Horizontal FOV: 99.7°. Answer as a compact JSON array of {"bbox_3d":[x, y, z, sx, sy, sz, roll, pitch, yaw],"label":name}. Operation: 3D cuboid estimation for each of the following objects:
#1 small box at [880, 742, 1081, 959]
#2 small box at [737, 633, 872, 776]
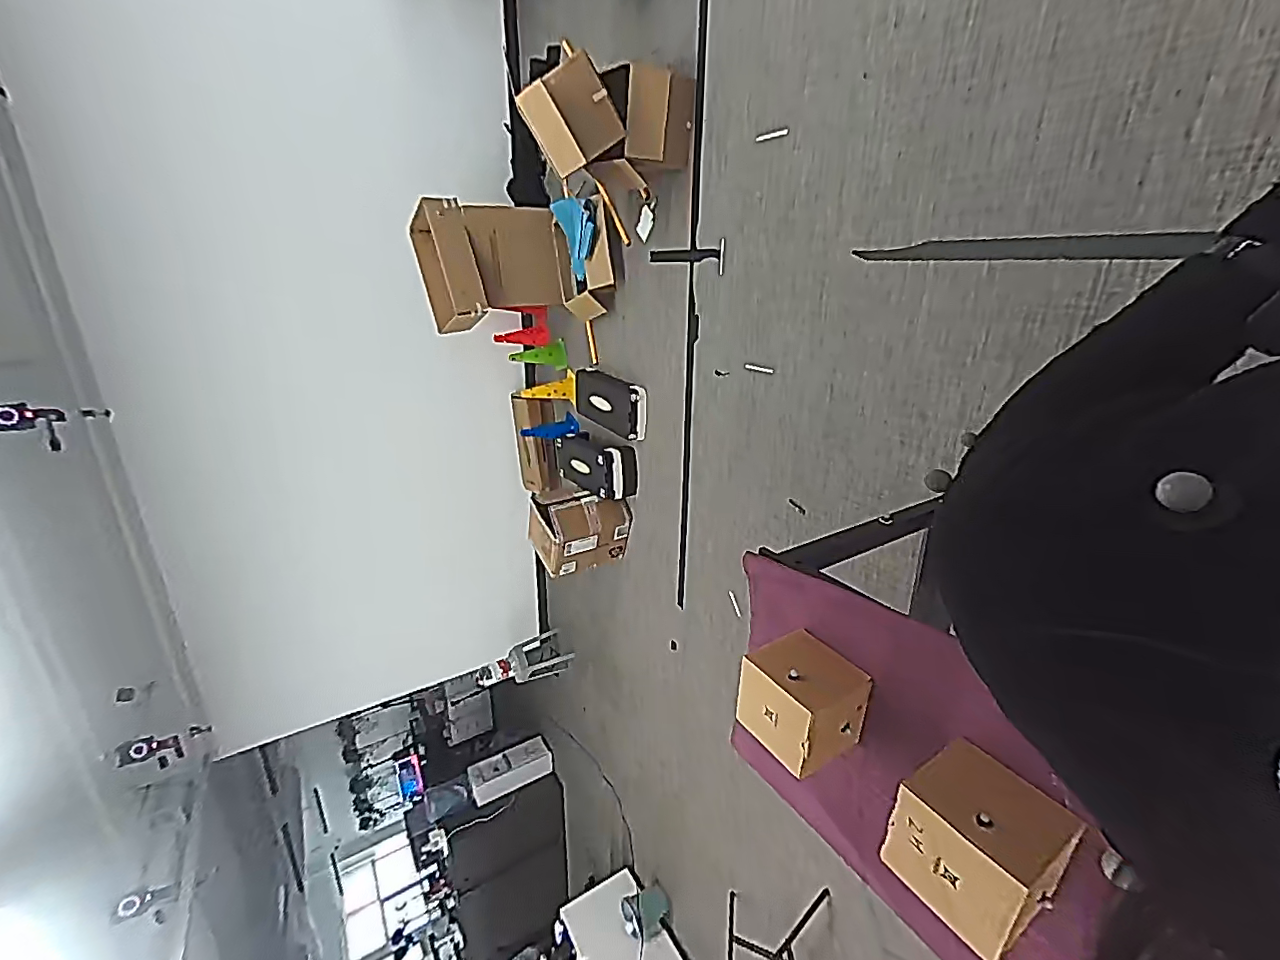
[{"bbox_3d":[0.493,0.527,0.791,0.179,0.176,0.168,33,127,51],"label":"small box"},{"bbox_3d":[0.316,0.422,1.056,0.179,0.176,0.168,32,128,50],"label":"small box"}]
